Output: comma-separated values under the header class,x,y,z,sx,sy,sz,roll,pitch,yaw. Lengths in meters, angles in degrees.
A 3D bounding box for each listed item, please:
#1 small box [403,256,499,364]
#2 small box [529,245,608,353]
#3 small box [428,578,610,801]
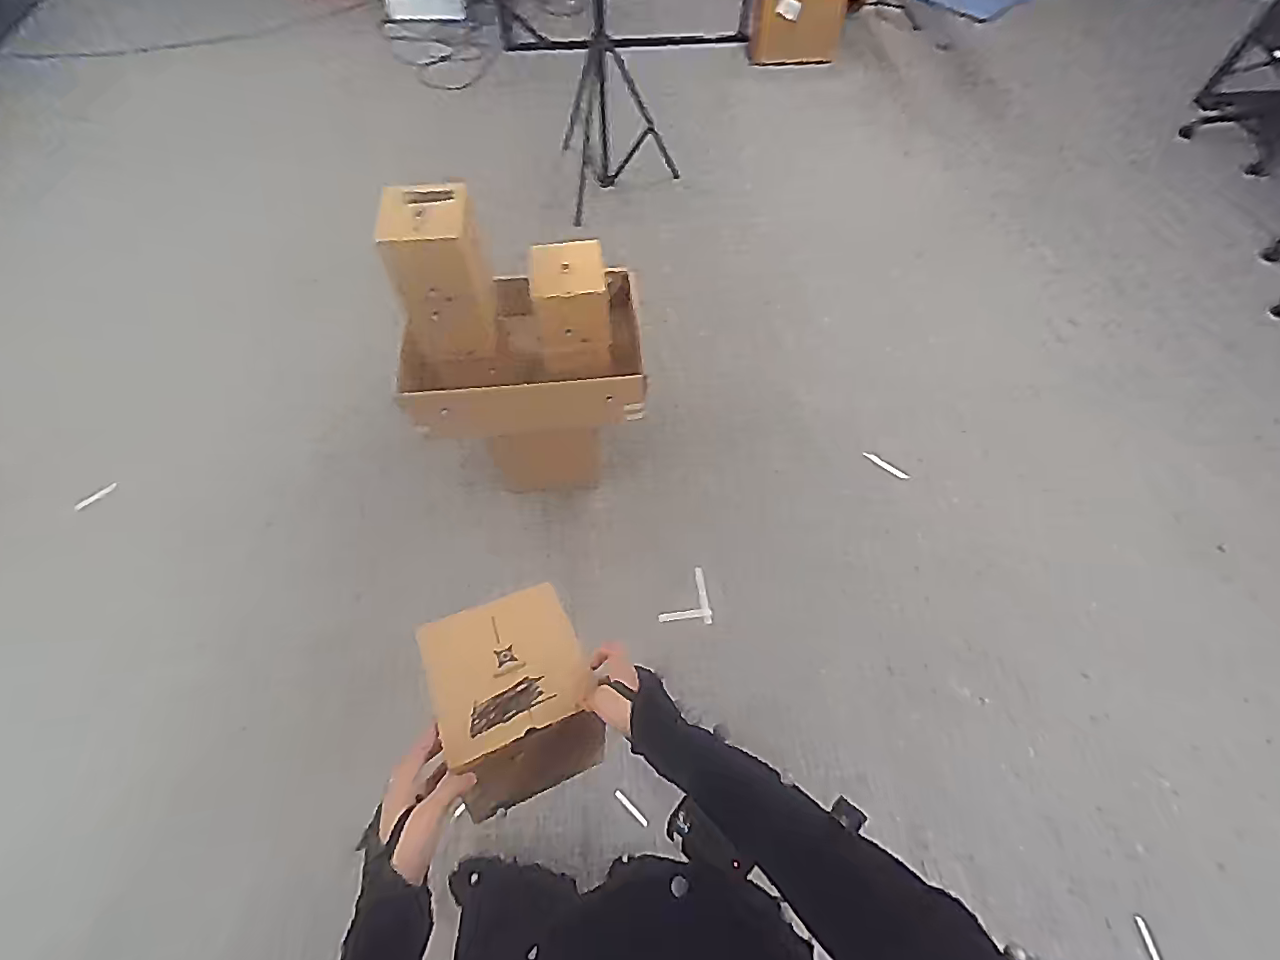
class,x,y,z,sx,sy,sz,roll,pitch,yaw
small box,-0.434,-0.398,1.272,0.168,0.176,0.179,-5,59,-3
small box,-0.168,-0.428,1.287,0.168,0.176,0.179,-8,61,-4
small box,-0.142,0.255,0.652,0.168,0.176,0.179,-15,46,-21
